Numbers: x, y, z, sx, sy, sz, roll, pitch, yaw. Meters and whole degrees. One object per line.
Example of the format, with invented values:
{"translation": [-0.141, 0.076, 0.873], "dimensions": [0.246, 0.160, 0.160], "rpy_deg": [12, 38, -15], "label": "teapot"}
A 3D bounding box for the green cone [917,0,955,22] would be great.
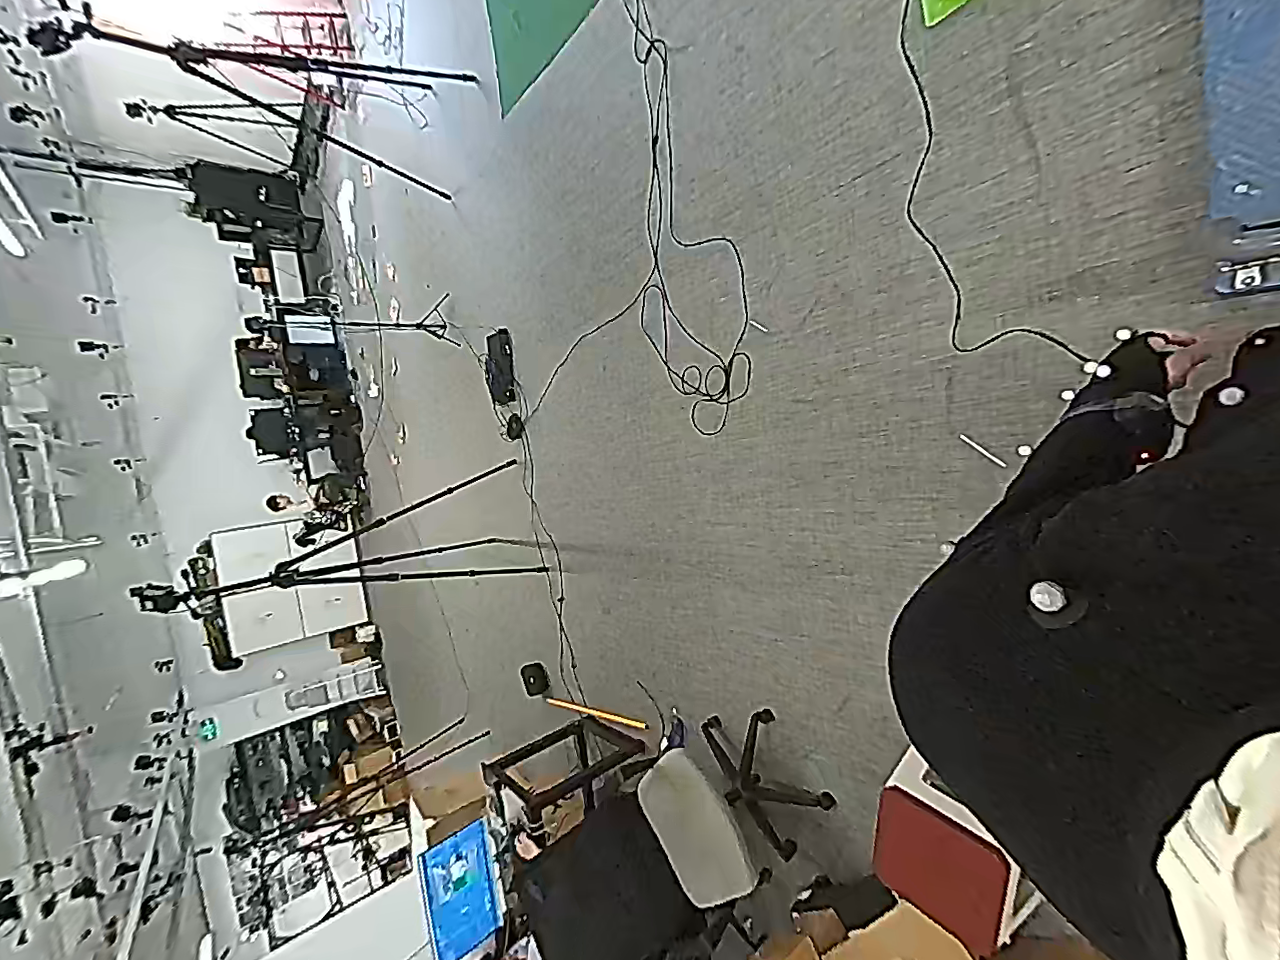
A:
{"translation": [0.661, -1.299, 1.269], "dimensions": [0.202, 0.368, 0.200], "rpy_deg": [-11, 90, 54], "label": "green cone"}
